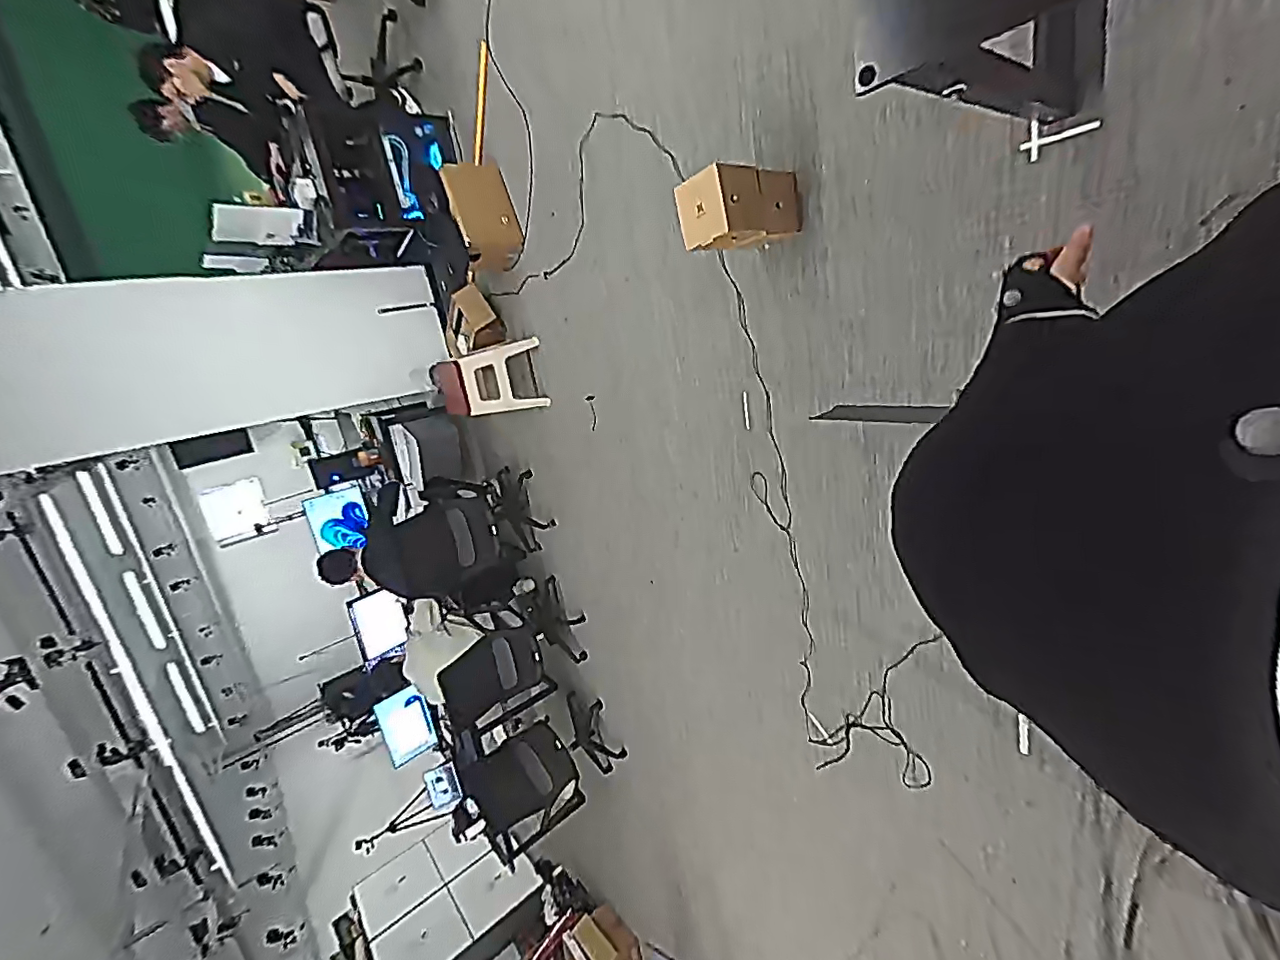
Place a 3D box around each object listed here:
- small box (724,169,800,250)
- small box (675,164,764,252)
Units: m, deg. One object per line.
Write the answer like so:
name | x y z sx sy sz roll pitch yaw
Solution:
small box | 0.352 -0.799 1.608 0.168 0.176 0.179 5 112 52
small box | 0.227 -0.757 1.513 0.168 0.176 0.179 0 106 52
